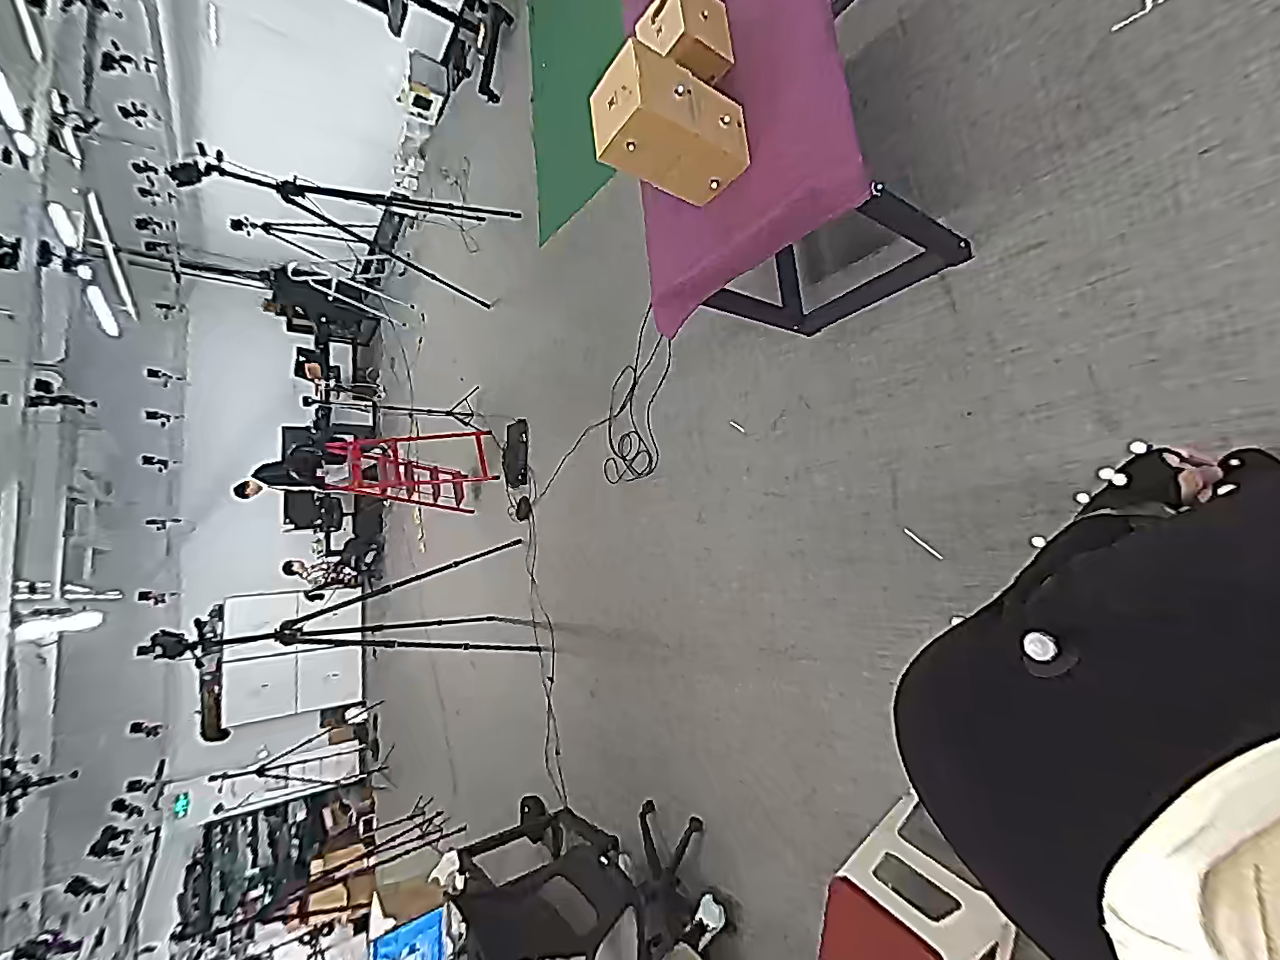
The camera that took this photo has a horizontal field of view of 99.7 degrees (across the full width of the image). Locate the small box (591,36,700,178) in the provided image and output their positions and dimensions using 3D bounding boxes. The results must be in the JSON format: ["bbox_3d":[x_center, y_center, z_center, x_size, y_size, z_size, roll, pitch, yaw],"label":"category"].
[{"bbox_3d":[0.011,-0.824,1.218,0.179,0.176,0.168,-19,75,51],"label":"small box"}]

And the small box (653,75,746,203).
[{"bbox_3d":[0.142,-0.819,1.318,0.179,0.176,0.168,-18,74,51],"label":"small box"}]

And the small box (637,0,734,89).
[{"bbox_3d":[0.114,-1.105,1.363,0.168,0.176,0.179,-19,75,52],"label":"small box"}]
